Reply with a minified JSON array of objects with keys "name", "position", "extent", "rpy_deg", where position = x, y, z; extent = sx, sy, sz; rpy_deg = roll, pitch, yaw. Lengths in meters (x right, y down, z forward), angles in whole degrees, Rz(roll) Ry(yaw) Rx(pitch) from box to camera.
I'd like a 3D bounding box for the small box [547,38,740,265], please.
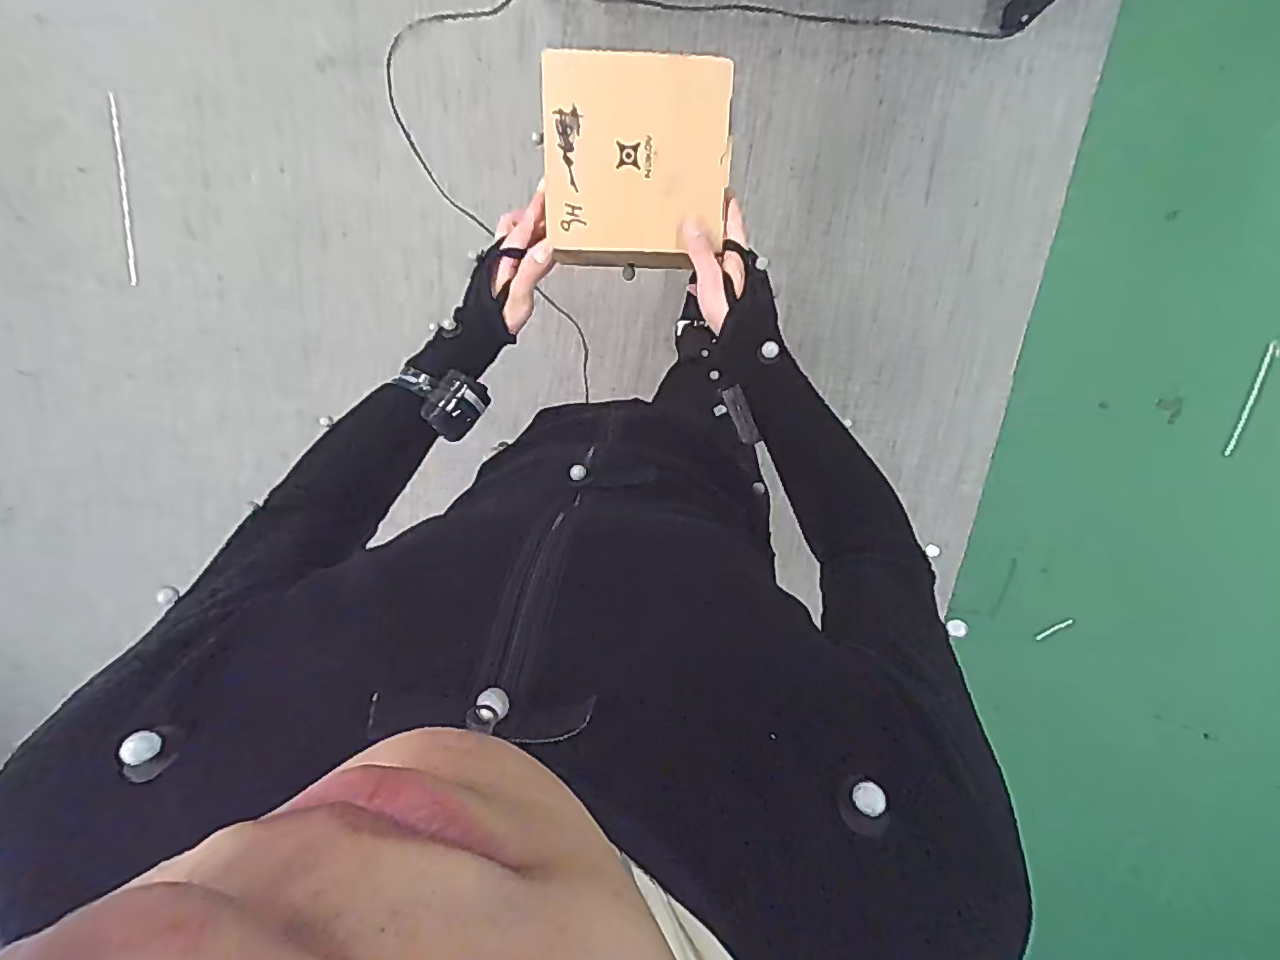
[{"name":"small box","position":[-0.006,-0.328,0.577],"extent":[0.179,0.176,0.168],"rpy_deg":[1,106,-5]}]
